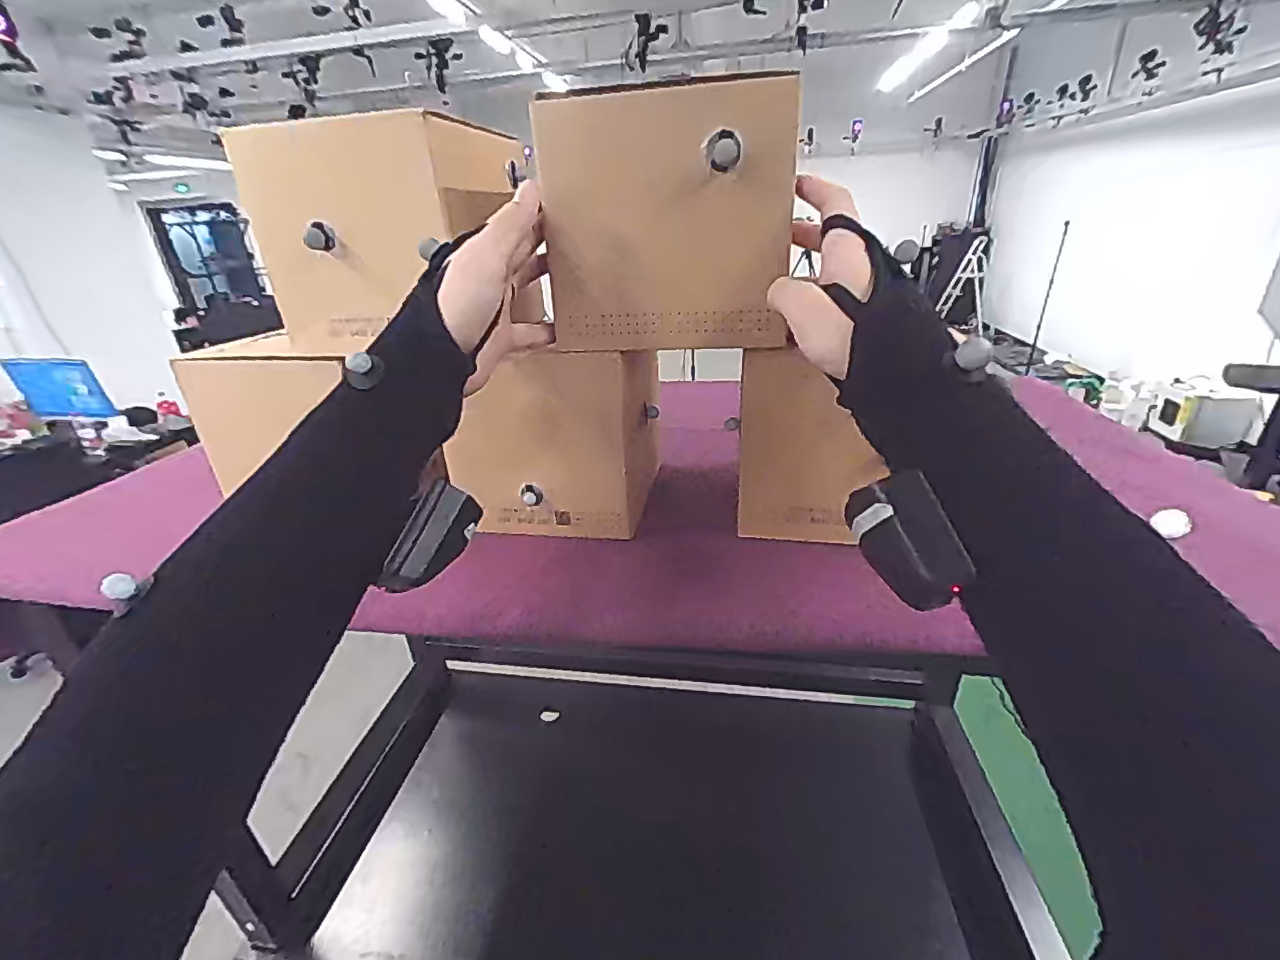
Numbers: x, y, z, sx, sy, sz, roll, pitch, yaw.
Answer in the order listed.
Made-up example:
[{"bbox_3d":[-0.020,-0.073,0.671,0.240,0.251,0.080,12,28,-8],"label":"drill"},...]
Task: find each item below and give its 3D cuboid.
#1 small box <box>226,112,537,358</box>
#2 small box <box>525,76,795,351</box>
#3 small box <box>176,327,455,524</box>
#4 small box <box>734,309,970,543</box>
[{"bbox_3d":[-0.204,-0.208,0.487,0.168,0.176,0.179,1,25,12],"label":"small box"},{"bbox_3d":[0.026,-0.206,0.445,0.179,0.176,0.168,2,25,11],"label":"small box"},{"bbox_3d":[-0.322,-0.065,0.581,0.179,0.176,0.168,3,26,10],"label":"small box"},{"bbox_3d":[0.175,-0.056,0.497,0.168,0.176,0.179,3,25,13],"label":"small box"}]
